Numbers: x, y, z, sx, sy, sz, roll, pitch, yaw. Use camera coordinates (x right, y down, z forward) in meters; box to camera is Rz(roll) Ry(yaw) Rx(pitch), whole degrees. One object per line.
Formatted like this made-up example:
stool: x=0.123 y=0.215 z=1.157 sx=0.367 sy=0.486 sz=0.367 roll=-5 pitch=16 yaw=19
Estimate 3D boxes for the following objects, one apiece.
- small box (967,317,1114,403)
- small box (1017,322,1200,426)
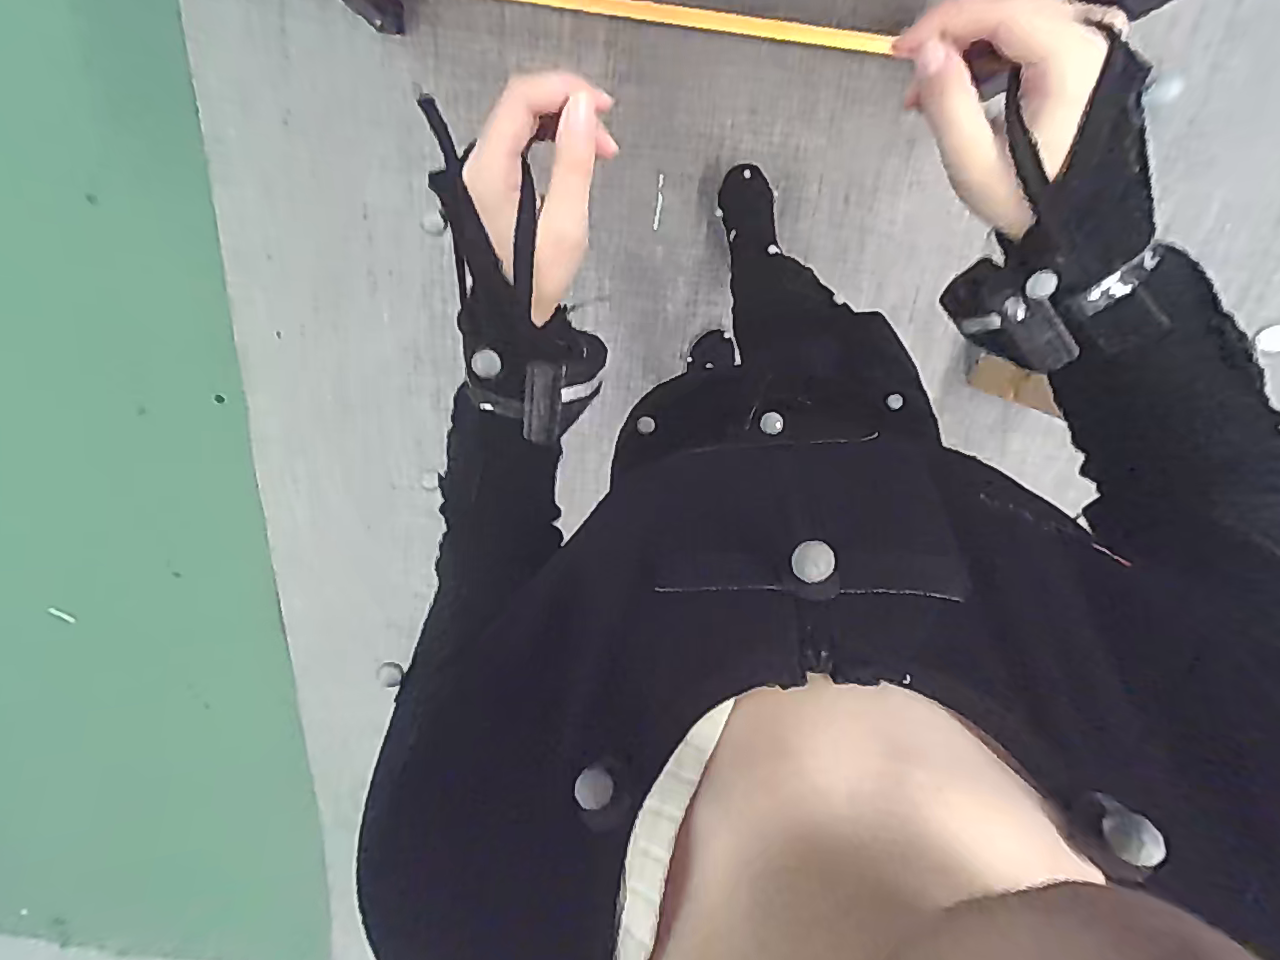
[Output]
small box: x=0.850 y=-0.262 z=1.165 sx=0.179 sy=0.176 sz=0.168 roll=1 pitch=110 yaw=2
small box: x=0.856 y=-0.203 z=1.012 sx=0.179 sy=0.176 sz=0.168 roll=2 pitch=111 yaw=1
